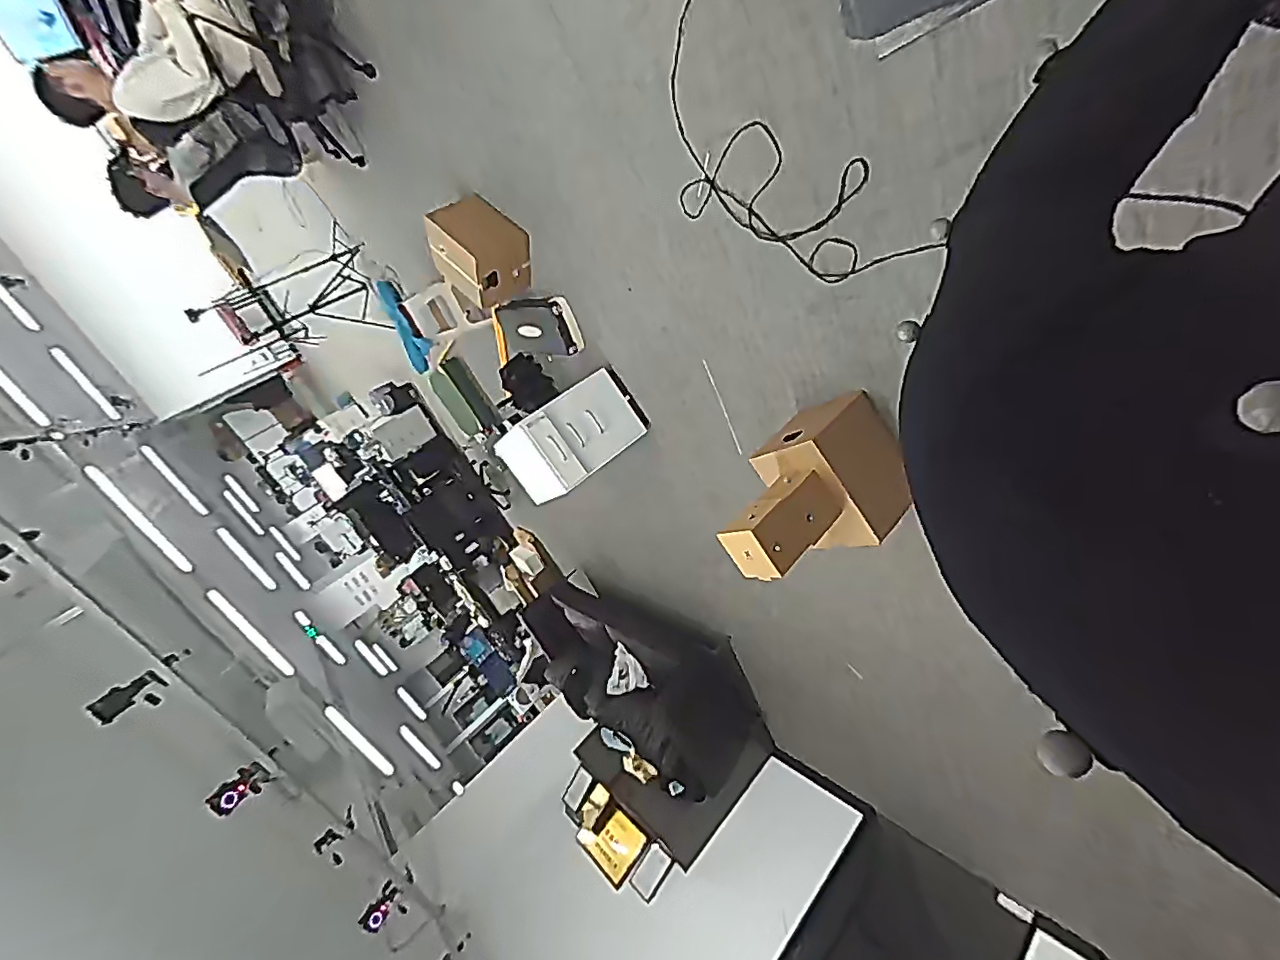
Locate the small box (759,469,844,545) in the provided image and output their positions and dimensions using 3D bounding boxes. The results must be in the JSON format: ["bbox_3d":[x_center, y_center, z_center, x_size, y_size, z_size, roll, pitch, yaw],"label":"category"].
[{"bbox_3d":[0.513,0.091,1.725,0.179,0.176,0.168,56,152,-8],"label":"small box"}]

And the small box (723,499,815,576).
[{"bbox_3d":[0.394,0.172,1.649,0.179,0.176,0.168,55,152,-9],"label":"small box"}]
